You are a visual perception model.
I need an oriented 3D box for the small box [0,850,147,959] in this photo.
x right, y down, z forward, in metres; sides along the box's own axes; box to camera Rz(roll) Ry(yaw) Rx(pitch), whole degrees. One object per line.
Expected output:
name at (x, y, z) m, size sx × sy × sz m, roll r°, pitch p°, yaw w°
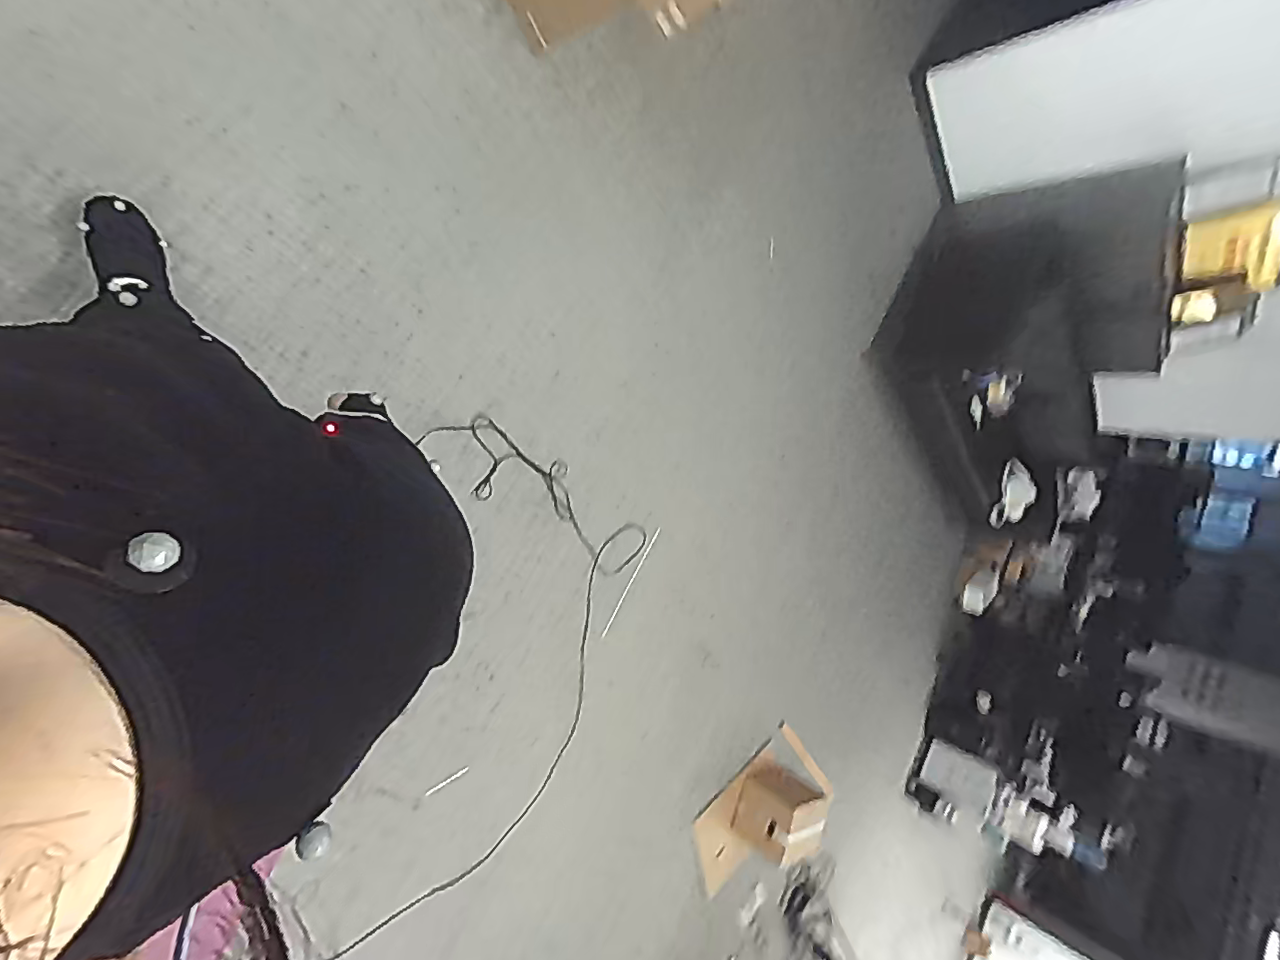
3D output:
small box at (-0.630, 0.498, 0.528) m, size 0.179 × 0.176 × 0.168 m, roll 38°, pitch 75°, yaw -39°
